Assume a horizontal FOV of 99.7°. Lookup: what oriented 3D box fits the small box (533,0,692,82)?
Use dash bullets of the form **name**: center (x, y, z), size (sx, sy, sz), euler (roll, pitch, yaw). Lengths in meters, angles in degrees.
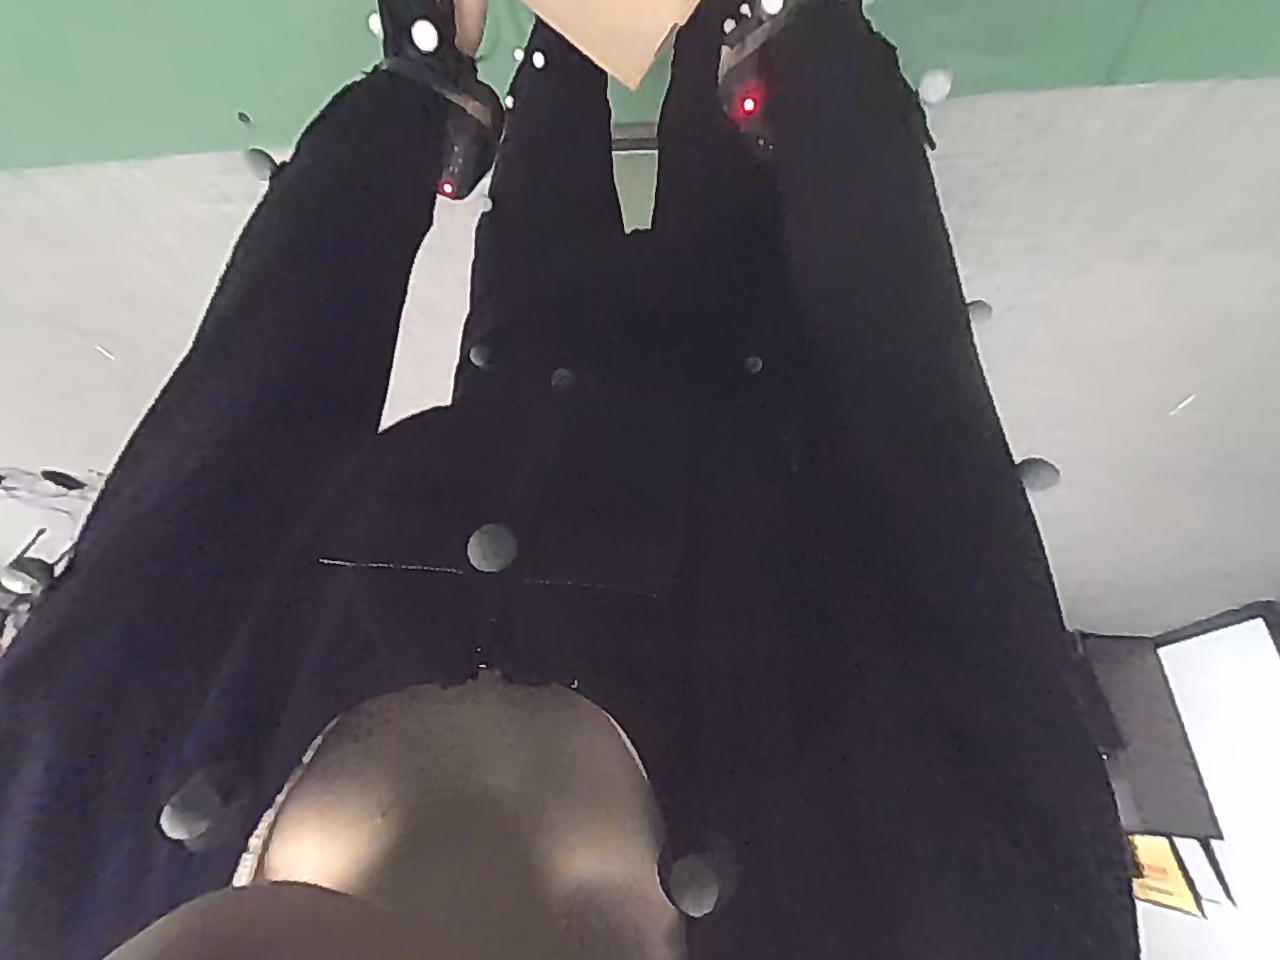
- **small box**: center (-0.021, -0.461, 0.395), size (0.179, 0.176, 0.168), euler (22, 145, -29)
